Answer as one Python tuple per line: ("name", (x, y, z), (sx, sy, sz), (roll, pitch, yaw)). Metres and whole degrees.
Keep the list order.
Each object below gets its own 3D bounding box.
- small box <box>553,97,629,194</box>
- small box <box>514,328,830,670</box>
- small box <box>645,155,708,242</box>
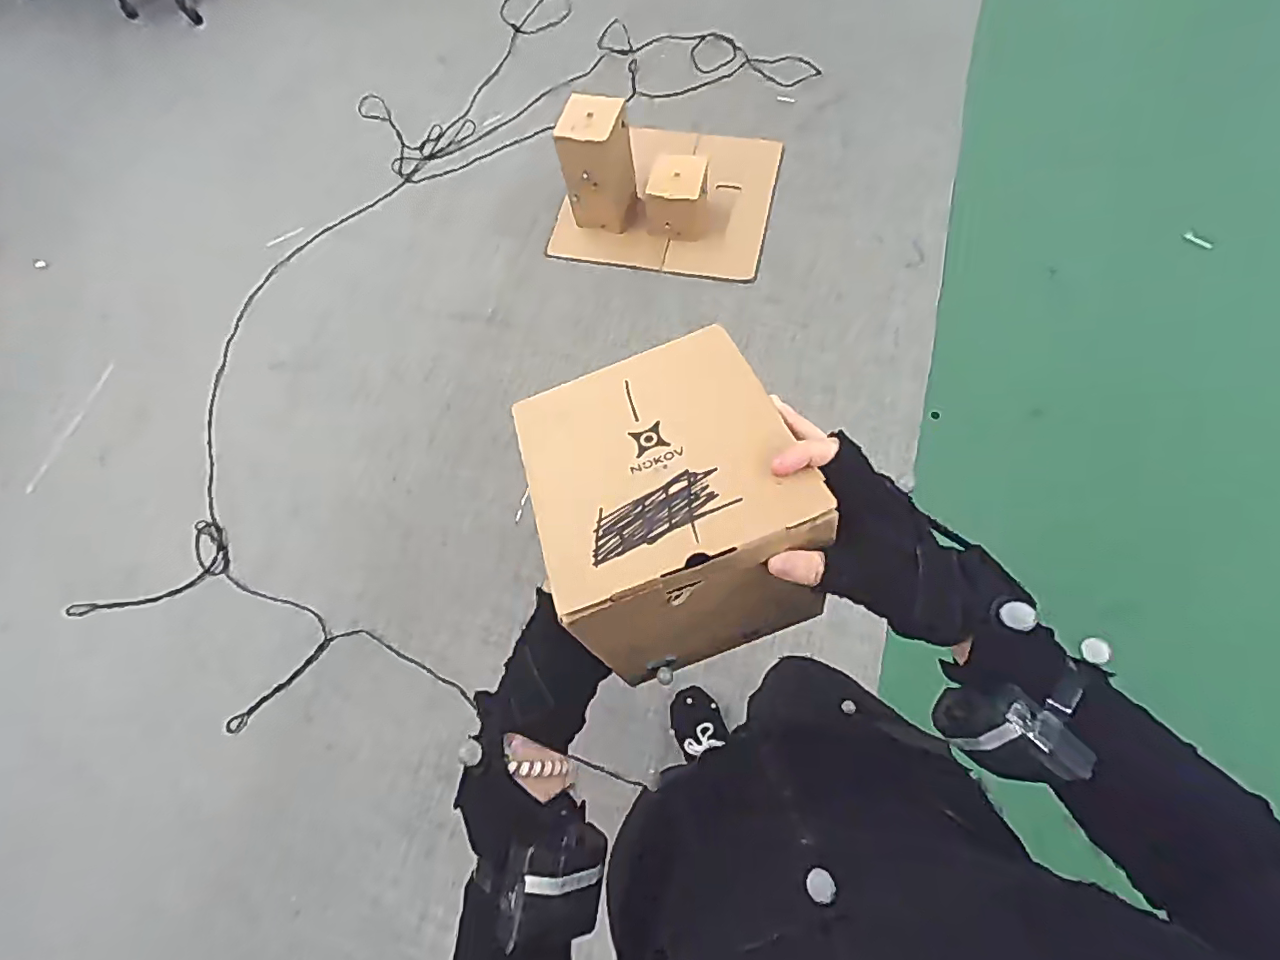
("small box", (-0.138, -0.994, 1.610), (0.168, 0.176, 0.179), (14, 72, 12))
("small box", (0.026, 0.027, 0.408), (0.168, 0.176, 0.179), (-22, 54, 1))
("small box", (0.118, -0.897, 1.727), (0.168, 0.176, 0.179), (10, 72, 9))
